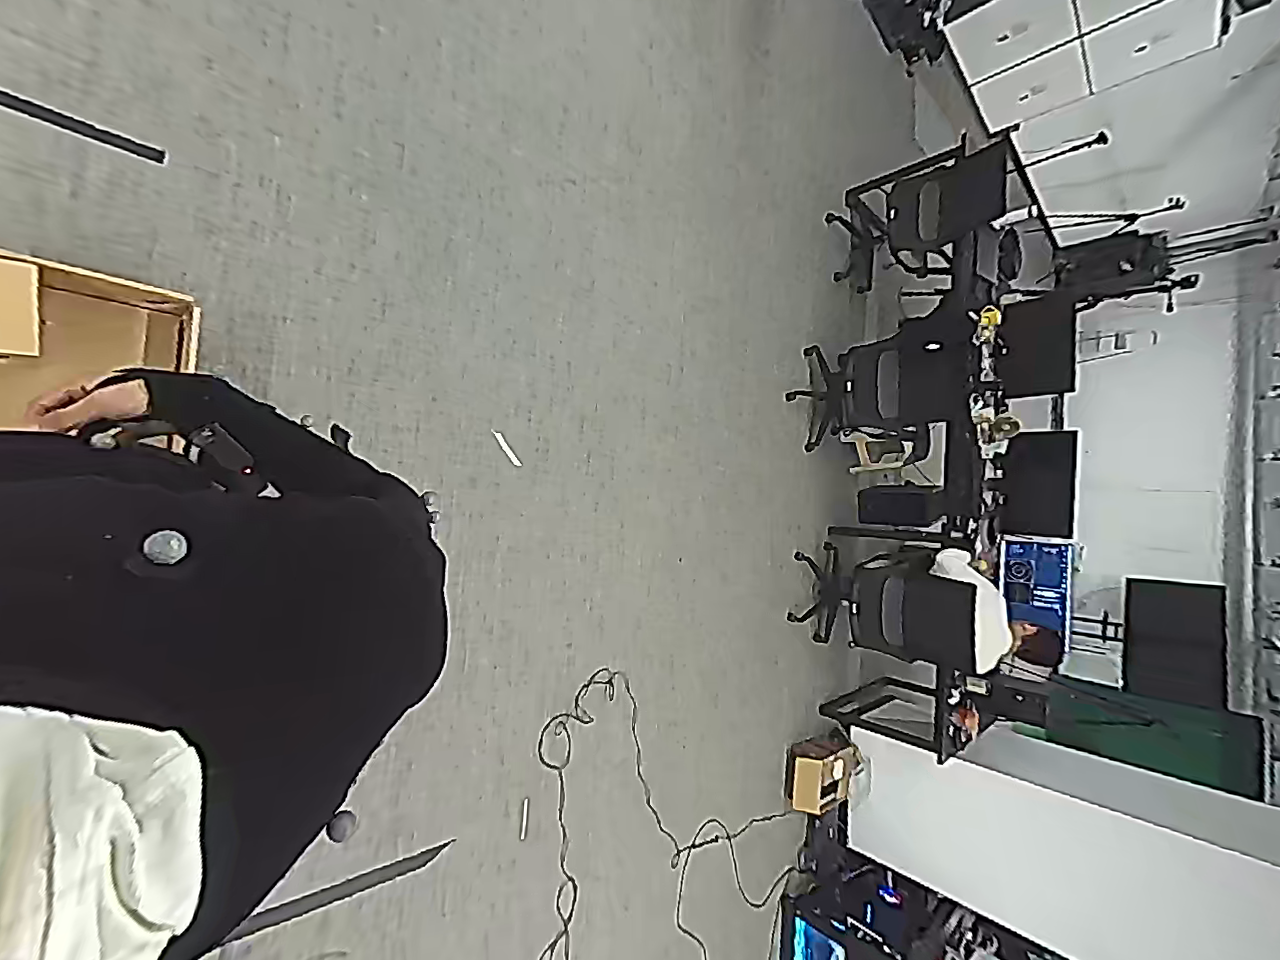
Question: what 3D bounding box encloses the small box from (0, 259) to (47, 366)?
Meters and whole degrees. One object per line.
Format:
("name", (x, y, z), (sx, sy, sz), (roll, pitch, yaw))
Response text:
("small box", (-1.188, -0.302, 0.962), (0.179, 0.176, 0.168), (-1, 92, -46))
